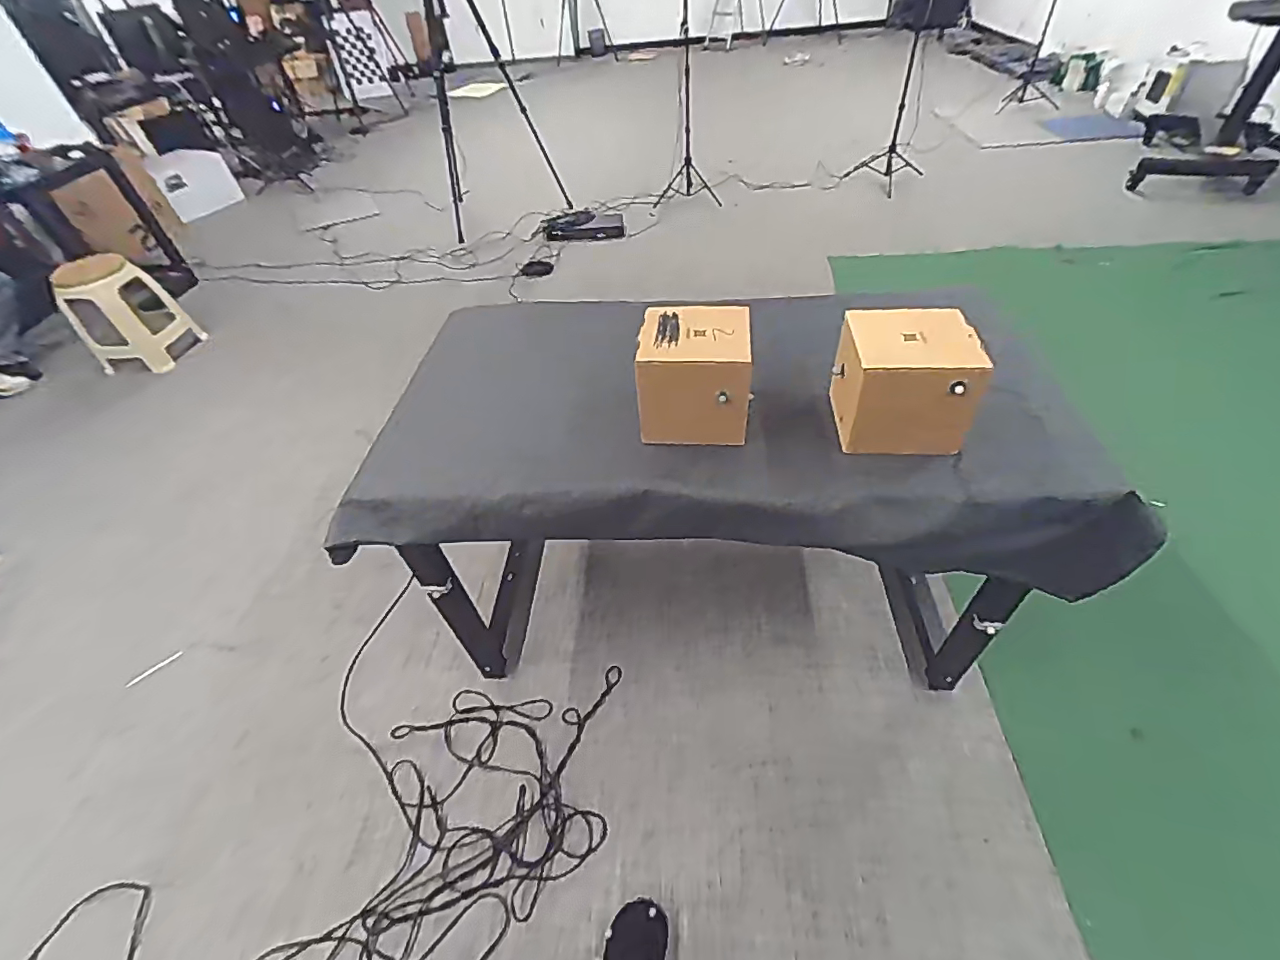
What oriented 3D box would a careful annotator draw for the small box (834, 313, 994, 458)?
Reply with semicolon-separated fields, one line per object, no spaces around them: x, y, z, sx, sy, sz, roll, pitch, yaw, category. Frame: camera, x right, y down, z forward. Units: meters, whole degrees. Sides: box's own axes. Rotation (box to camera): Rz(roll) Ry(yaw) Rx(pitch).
0.415;-0.148;0.859;0.179;0.176;0.168;1;46;7;small box
